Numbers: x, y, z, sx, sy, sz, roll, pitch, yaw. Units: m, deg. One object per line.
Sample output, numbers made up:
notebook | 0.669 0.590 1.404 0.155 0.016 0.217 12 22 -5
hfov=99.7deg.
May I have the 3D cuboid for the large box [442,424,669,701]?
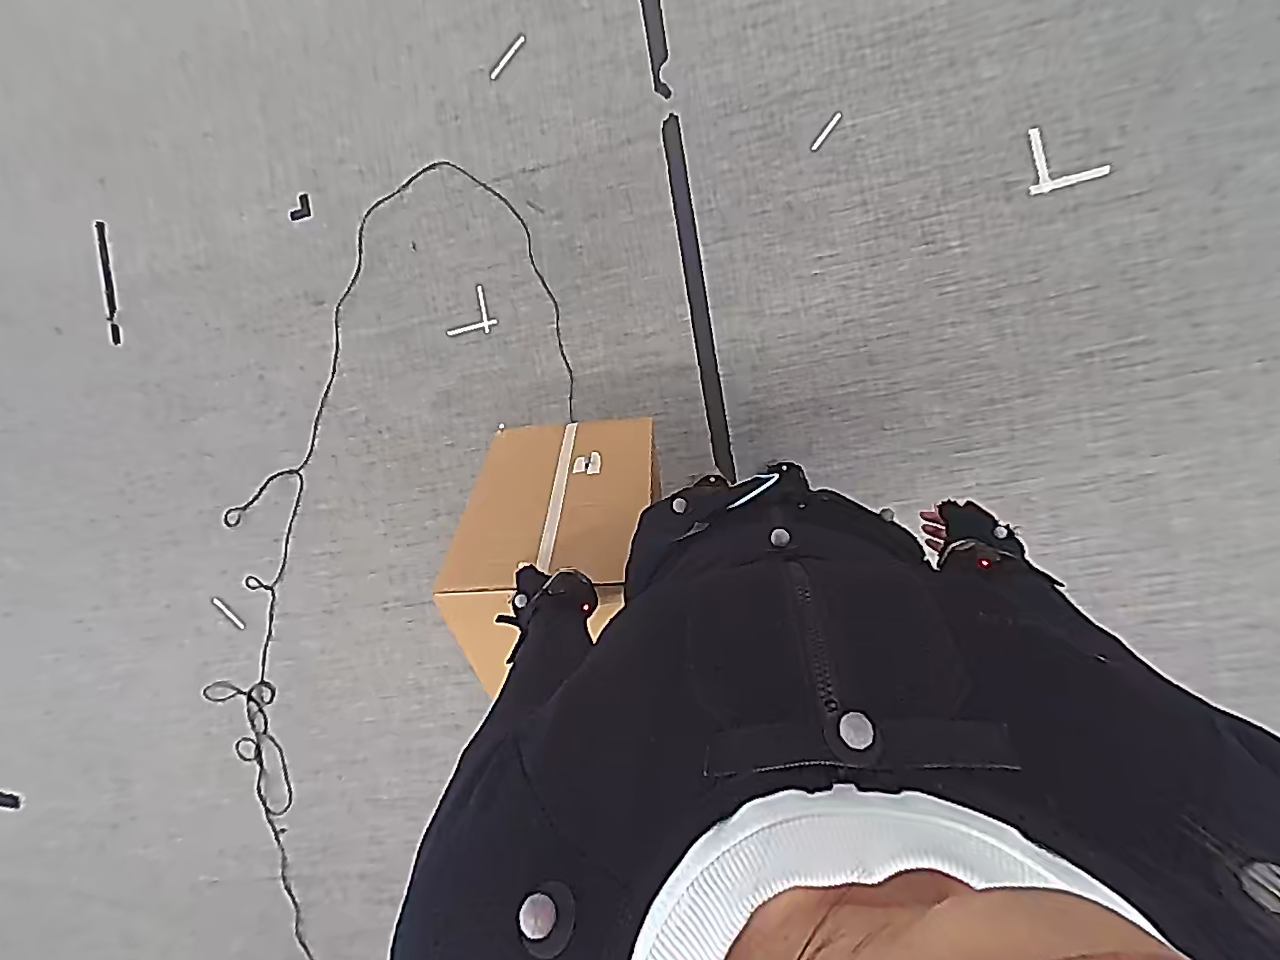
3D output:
large box | -0.116 0.144 1.006 0.320 0.408 0.320 -4 129 5
